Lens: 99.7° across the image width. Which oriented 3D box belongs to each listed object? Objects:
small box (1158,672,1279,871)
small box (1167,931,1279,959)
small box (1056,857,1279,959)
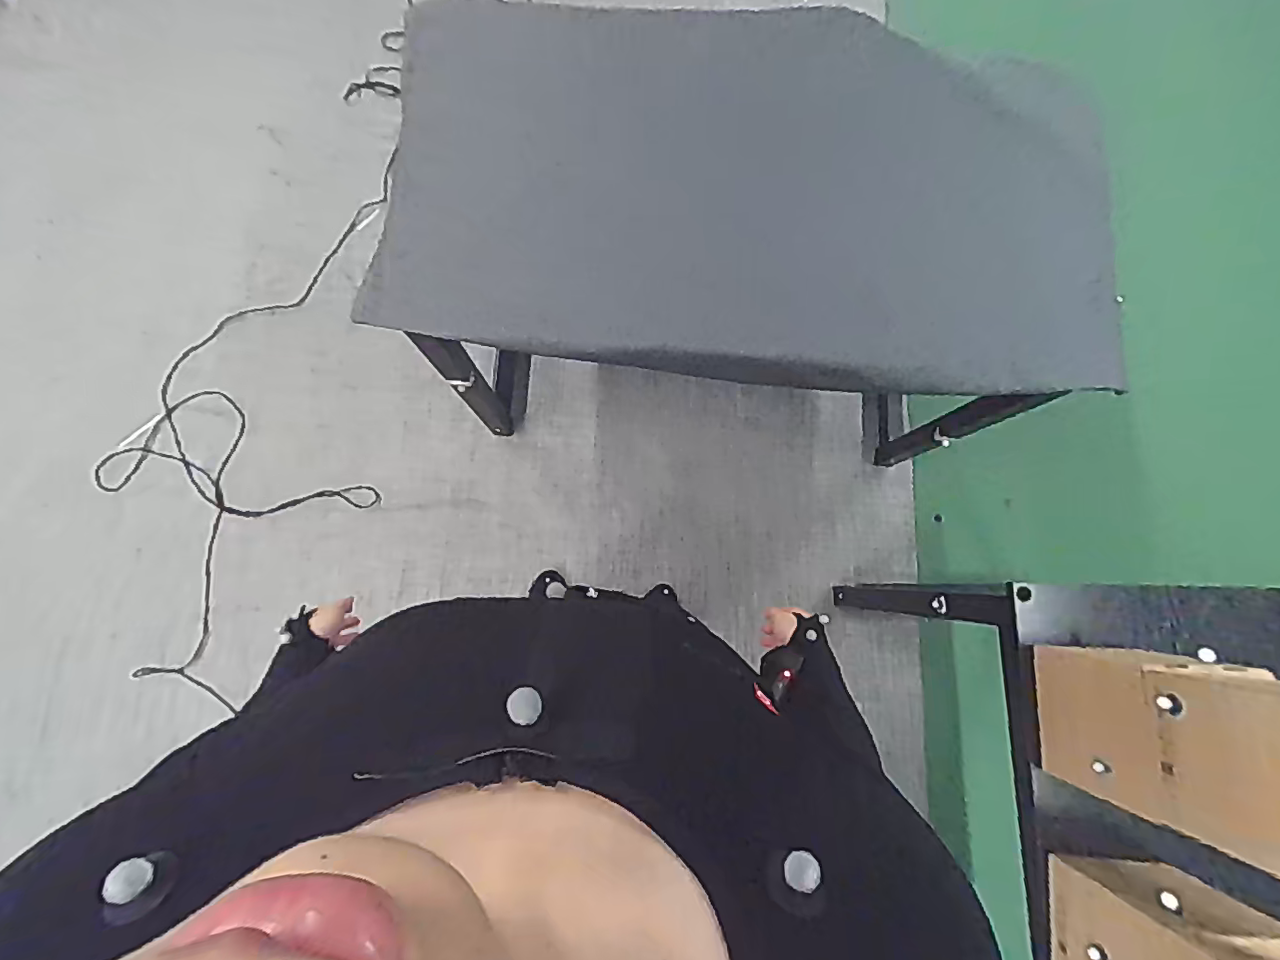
[{"bbox_3d":[0.667,0.293,0.535,0.179,0.176,0.168,5,81,-2],"label":"small box"},{"bbox_3d":[0.626,0.570,0.486,0.168,0.176,0.179,14,79,1],"label":"small box"},{"bbox_3d":[0.641,0.586,0.649,0.179,0.176,0.168,6,80,-1],"label":"small box"}]
